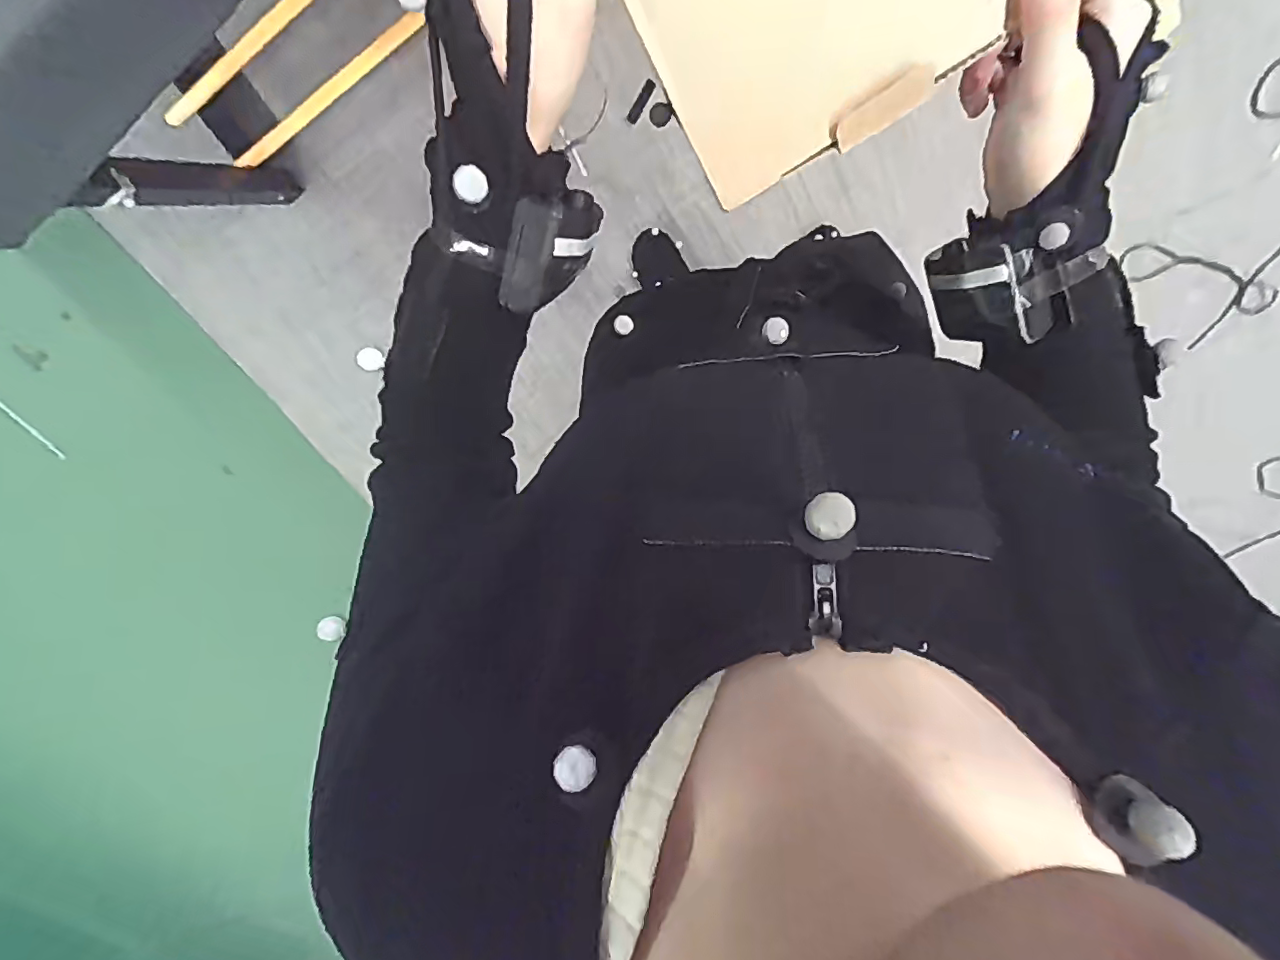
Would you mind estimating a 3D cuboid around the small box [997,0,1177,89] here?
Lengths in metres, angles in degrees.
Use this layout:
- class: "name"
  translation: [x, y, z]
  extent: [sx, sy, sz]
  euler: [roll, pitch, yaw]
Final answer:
- class: "small box"
  translation: [0.737, -0.791, 0.905]
  extent: [0.168, 0.176, 0.179]
  euler: [-24, 115, 15]
